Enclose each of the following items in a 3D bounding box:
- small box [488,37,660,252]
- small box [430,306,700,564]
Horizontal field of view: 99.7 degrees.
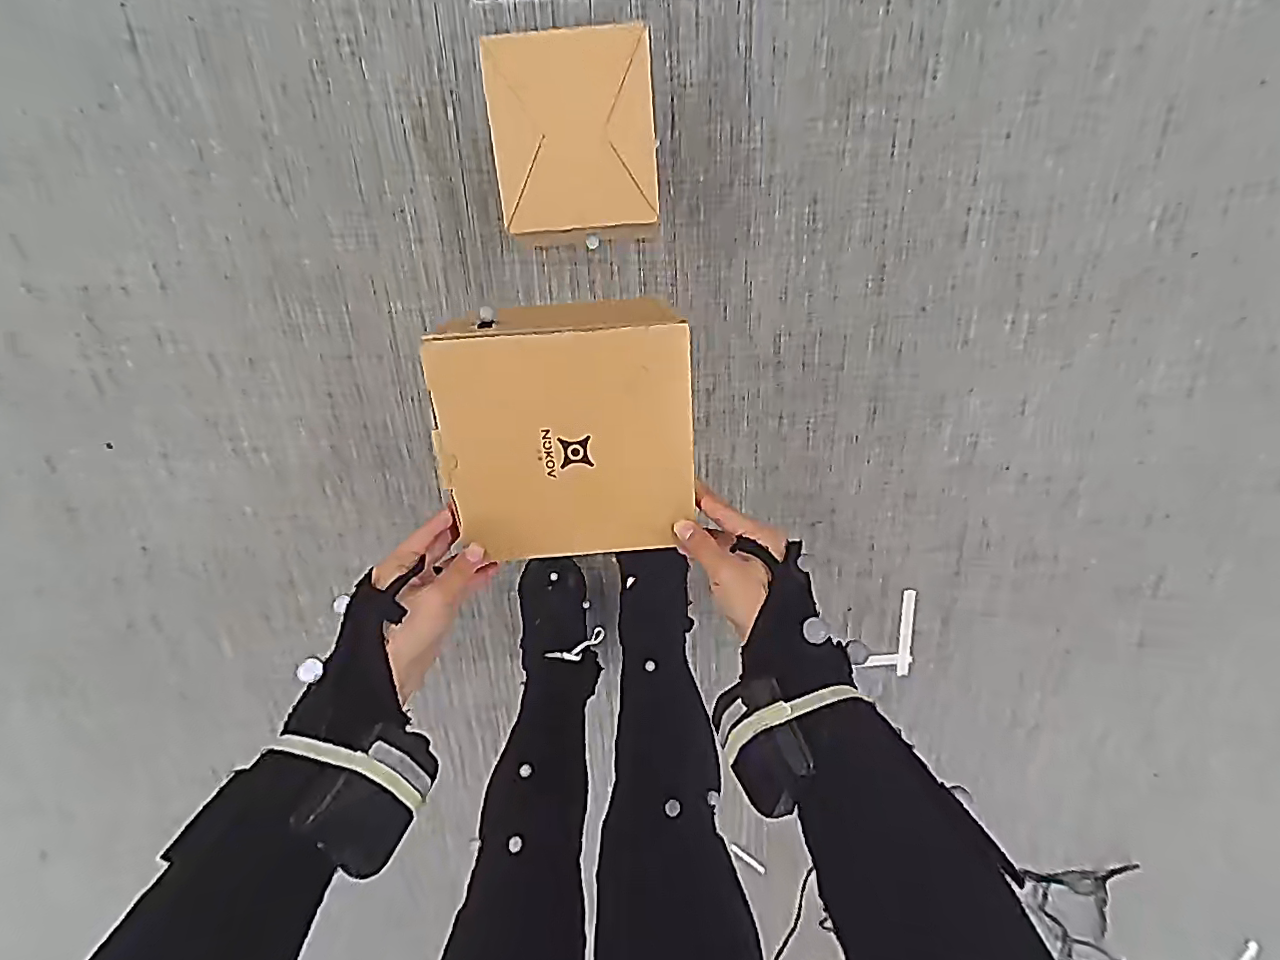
[{"bbox_3d":[-0.066,-0.368,0.620,0.168,0.176,0.179,-4,109,1],"label":"small box"},{"bbox_3d":[-0.049,-0.049,0.452,0.179,0.176,0.168,-4,114,-1],"label":"small box"}]
